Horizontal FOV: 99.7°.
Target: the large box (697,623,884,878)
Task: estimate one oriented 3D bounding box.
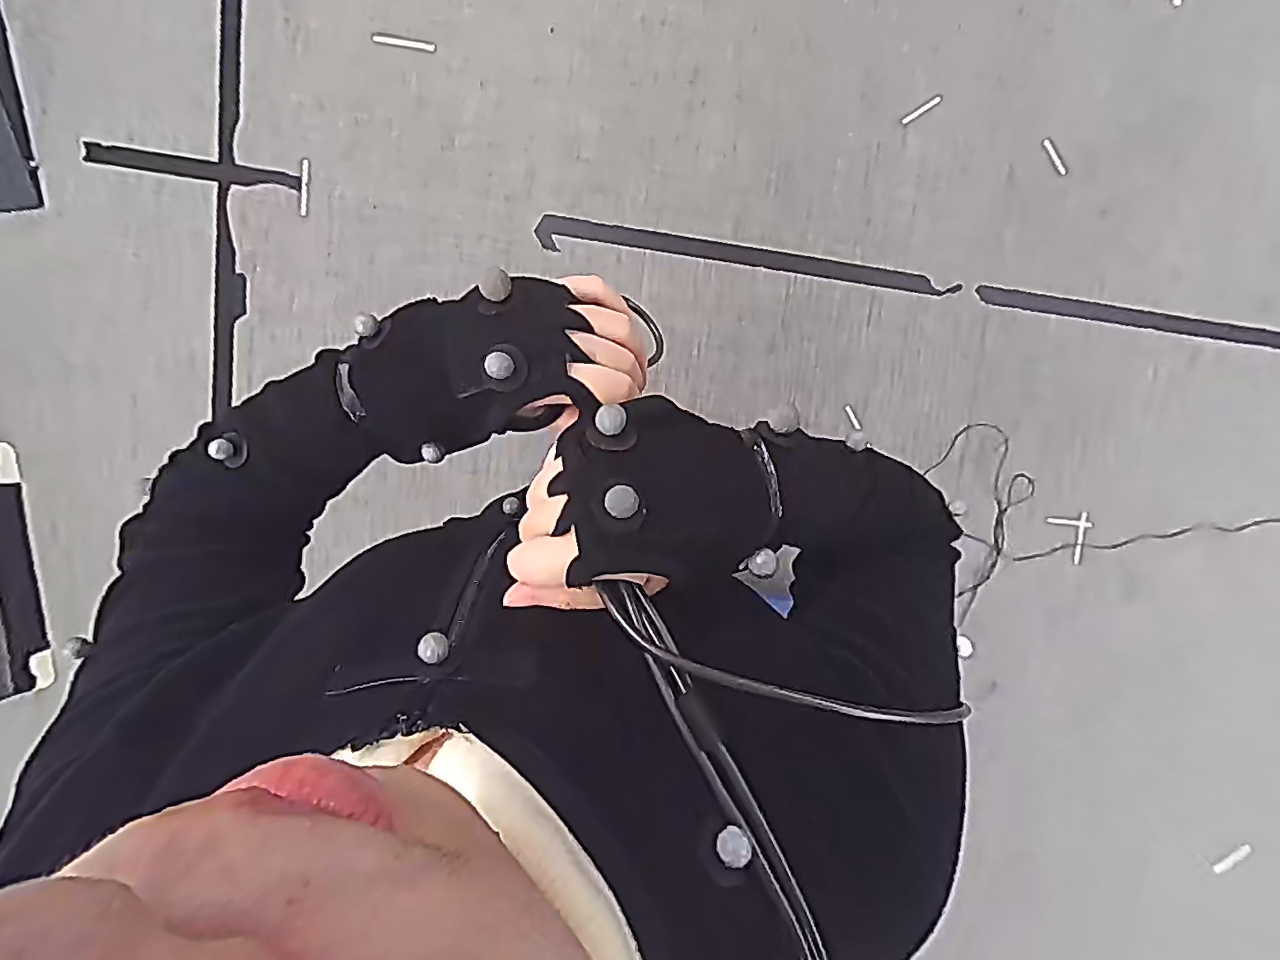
[{"bbox_3d":[0.325,0.592,1.246,0.320,0.320,0.408,-7,97,-2],"label":"large box"}]
